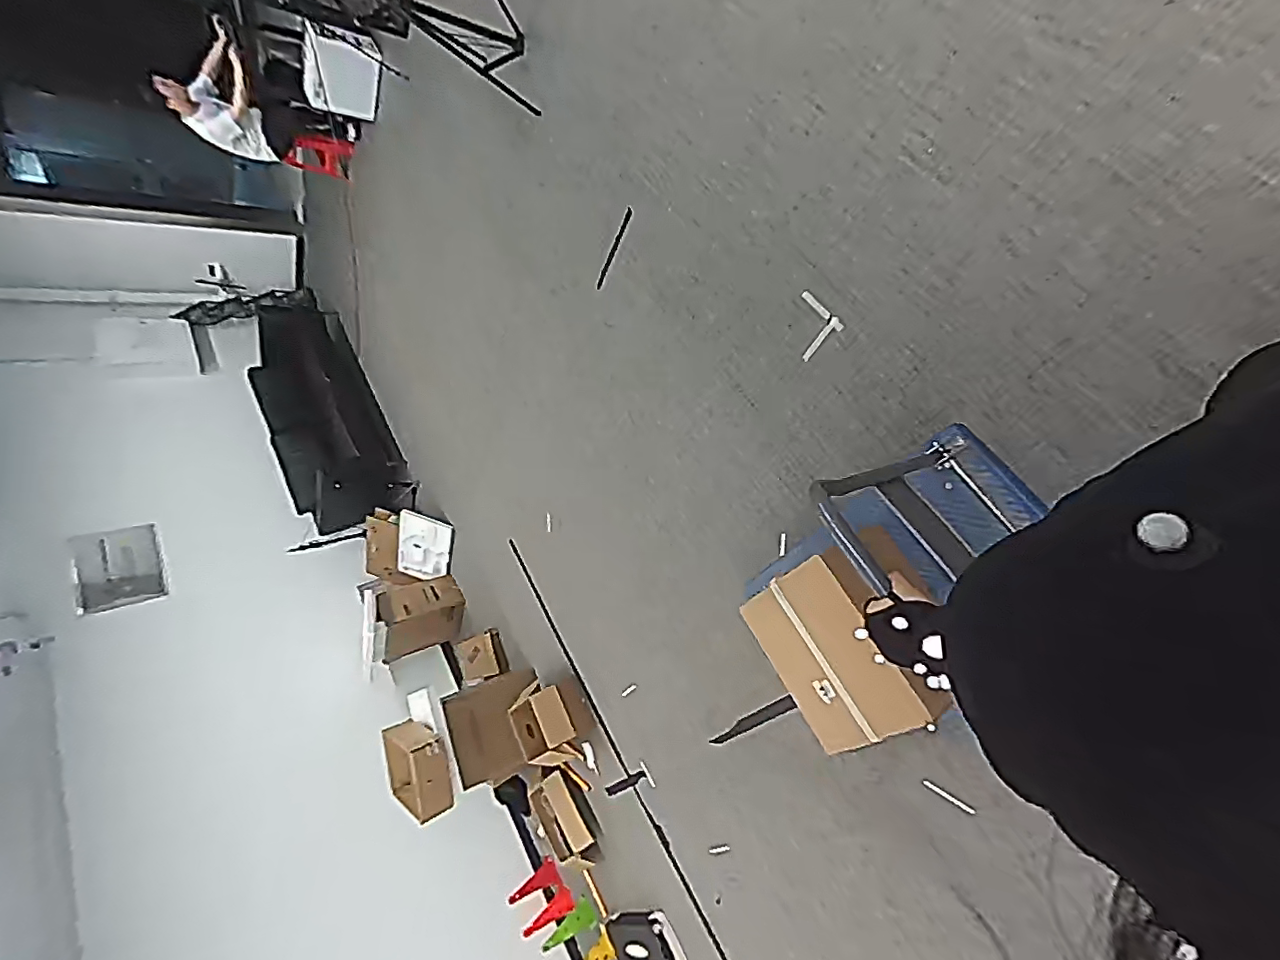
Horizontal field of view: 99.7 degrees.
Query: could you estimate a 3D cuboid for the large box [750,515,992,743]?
[{"bbox_3d":[0.562,0.356,1.349,0.408,0.320,0.320,58,138,20],"label":"large box"}]
